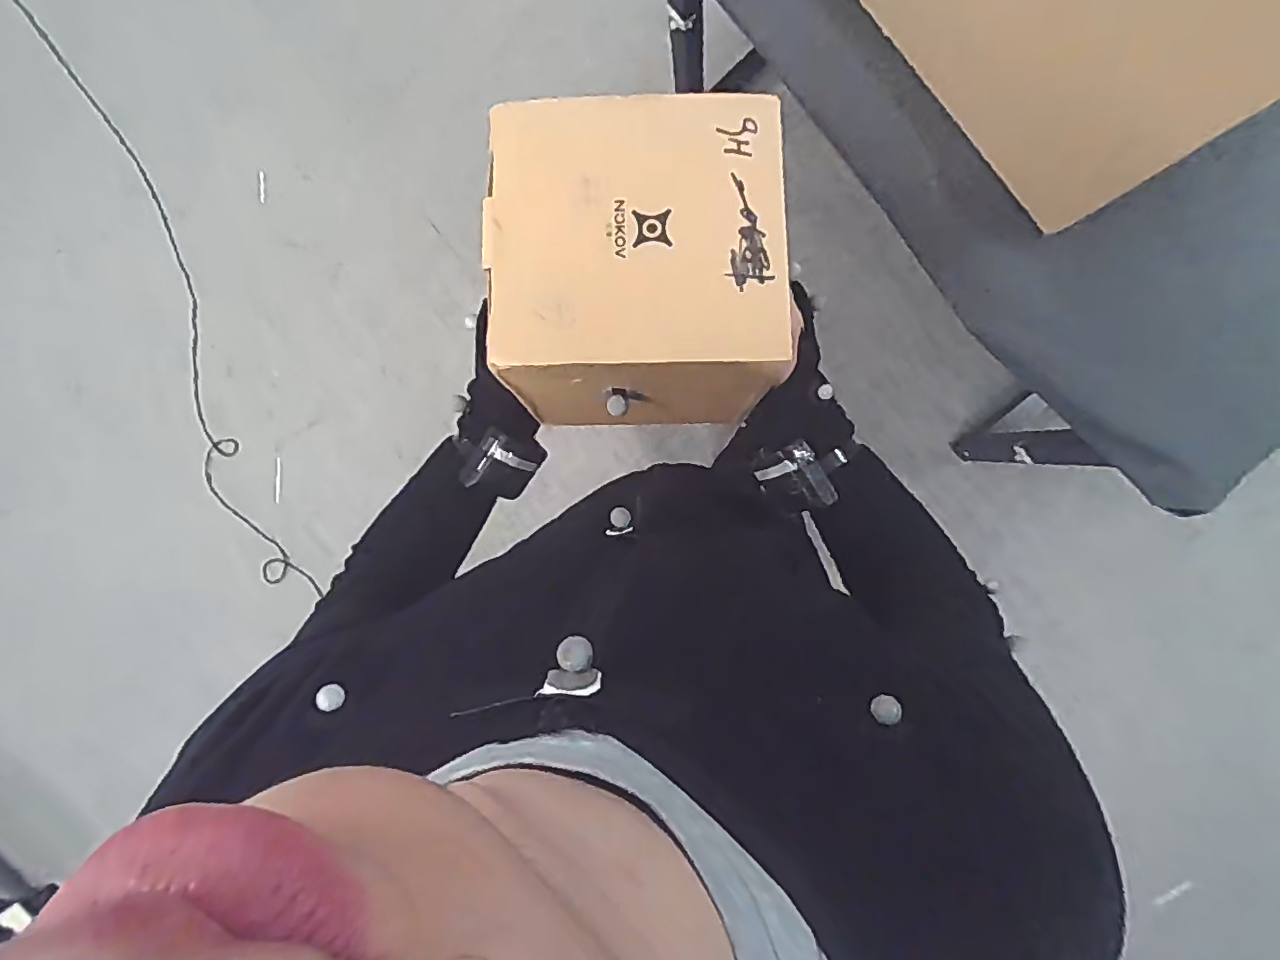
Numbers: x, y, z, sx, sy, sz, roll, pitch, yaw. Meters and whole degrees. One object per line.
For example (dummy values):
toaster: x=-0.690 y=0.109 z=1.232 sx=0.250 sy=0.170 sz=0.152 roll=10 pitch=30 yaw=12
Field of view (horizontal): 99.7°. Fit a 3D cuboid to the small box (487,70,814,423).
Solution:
small box: x=0.006 y=-0.137 z=0.374 sx=0.179 sy=0.176 sz=0.168 roll=-1 pitch=84 yaw=0
